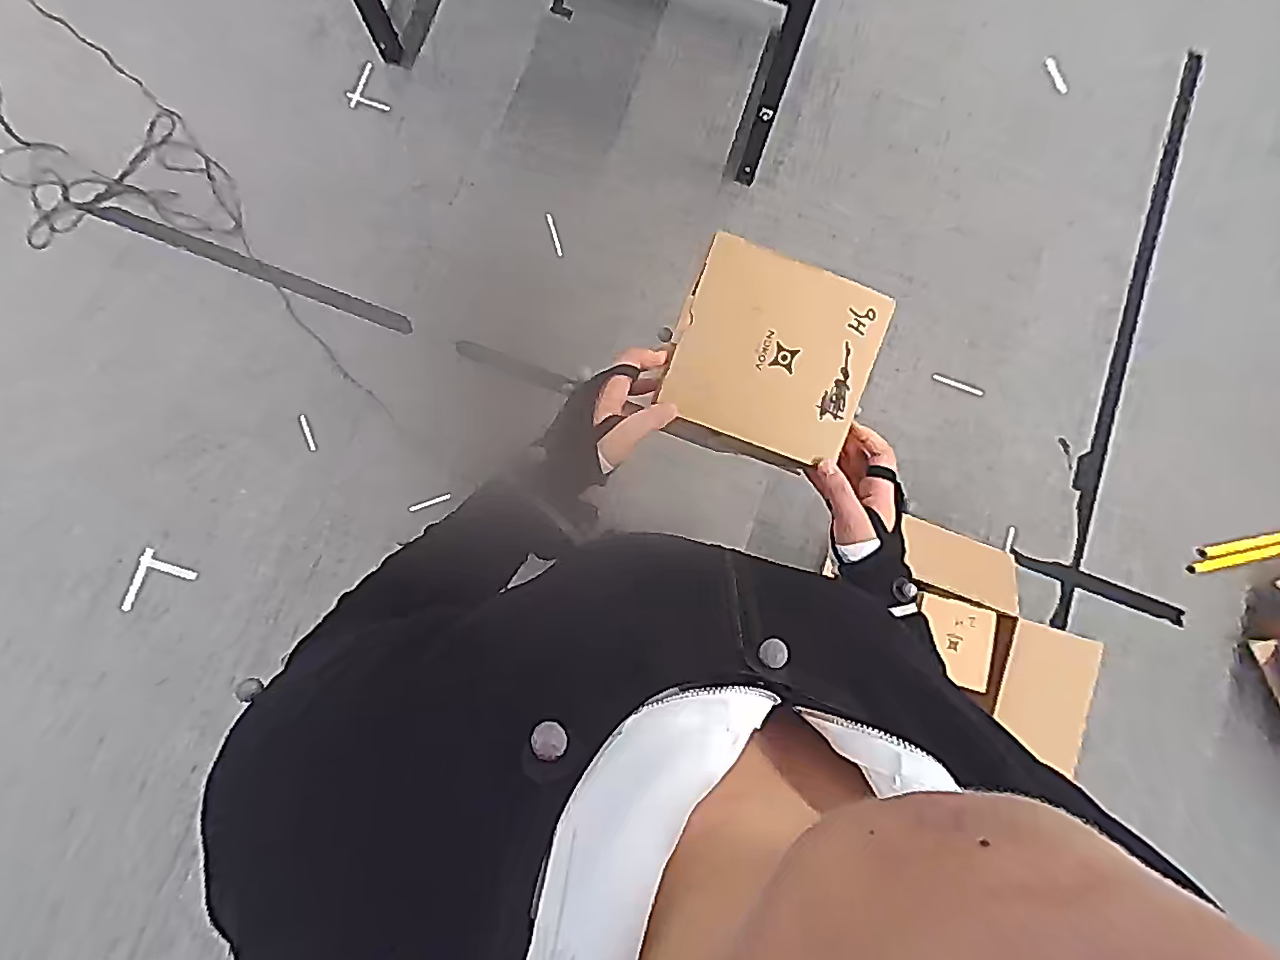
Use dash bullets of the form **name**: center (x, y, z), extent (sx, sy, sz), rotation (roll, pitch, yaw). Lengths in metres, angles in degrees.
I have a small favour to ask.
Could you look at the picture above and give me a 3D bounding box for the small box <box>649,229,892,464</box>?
- **small box**: center (0.114, -0.120, 0.558), extent (0.179, 0.176, 0.168), rotation (19, 93, -3)
